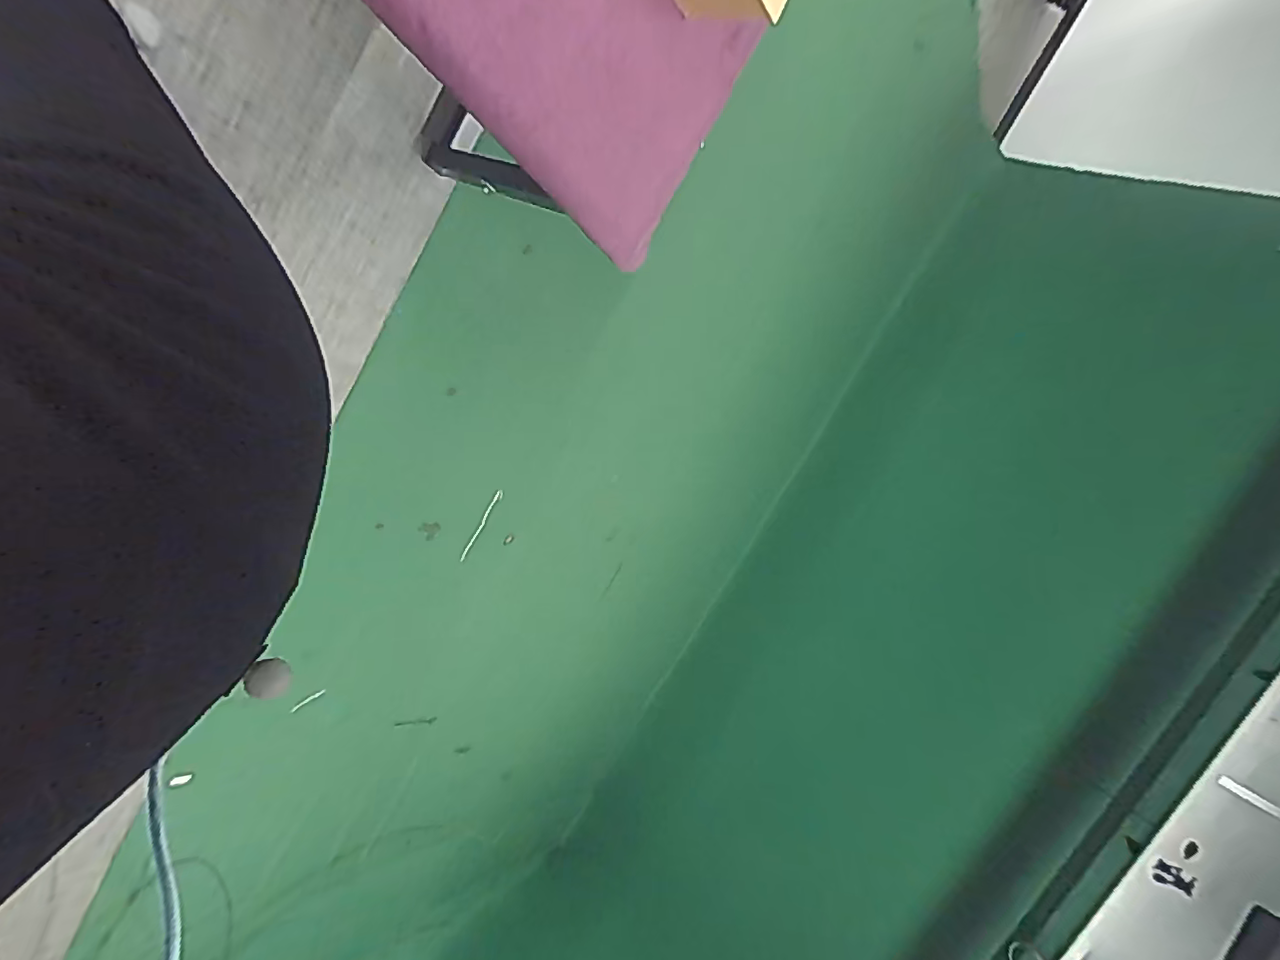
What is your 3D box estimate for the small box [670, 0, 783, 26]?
[{"bbox_3d":[0.112,-0.747,0.712,0.168,0.176,0.179,7,112,-53],"label":"small box"}]
